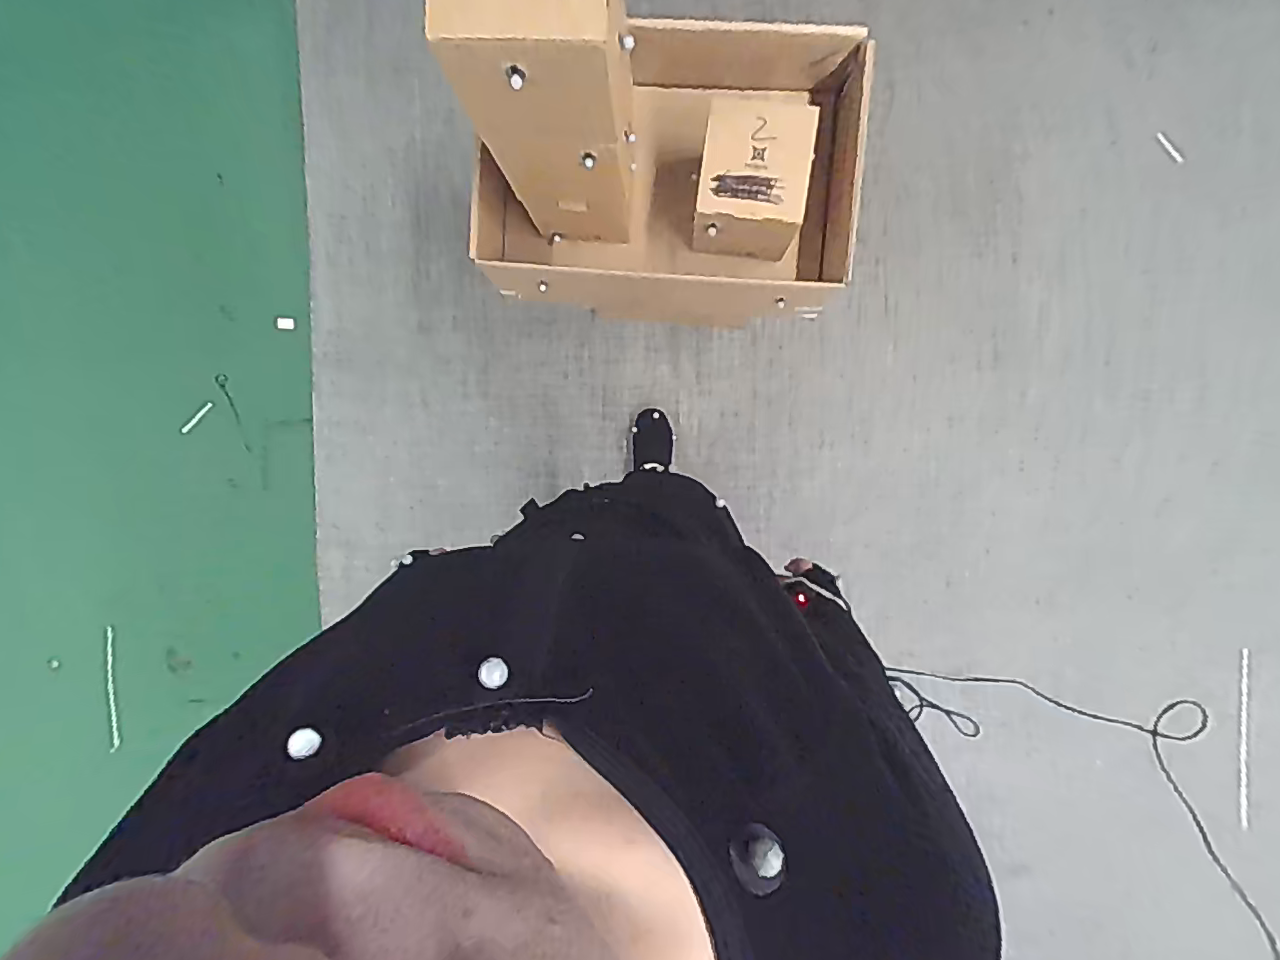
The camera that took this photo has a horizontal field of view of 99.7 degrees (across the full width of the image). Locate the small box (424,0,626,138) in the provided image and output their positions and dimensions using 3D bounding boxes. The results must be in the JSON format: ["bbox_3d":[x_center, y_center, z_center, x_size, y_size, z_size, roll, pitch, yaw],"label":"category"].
[{"bbox_3d":[-0.111,-0.499,0.583,0.179,0.176,0.168,3,94,1],"label":"small box"}]

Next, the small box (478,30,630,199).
[{"bbox_3d":[-0.109,-0.511,0.748,0.179,0.176,0.168,4,94,1],"label":"small box"}]
